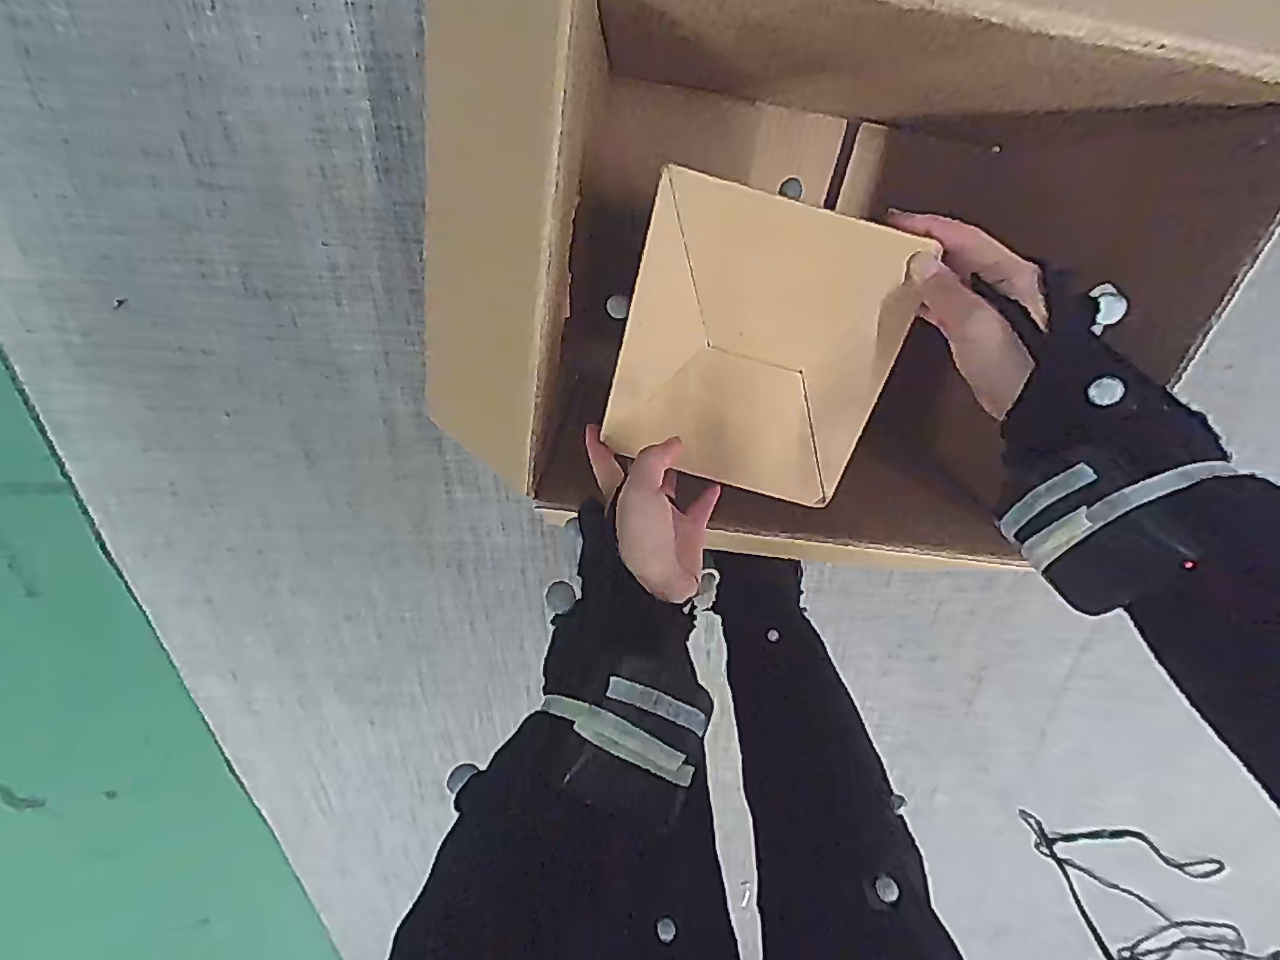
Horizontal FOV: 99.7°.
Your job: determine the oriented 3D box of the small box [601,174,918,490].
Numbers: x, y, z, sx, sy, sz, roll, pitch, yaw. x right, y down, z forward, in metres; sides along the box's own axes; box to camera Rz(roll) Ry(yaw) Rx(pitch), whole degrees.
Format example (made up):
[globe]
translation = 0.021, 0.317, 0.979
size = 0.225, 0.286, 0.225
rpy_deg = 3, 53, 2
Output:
[small box]
translation = 0.073, -0.118, 0.411
size = 0.168, 0.176, 0.179
rpy_deg = 14, 115, -3
